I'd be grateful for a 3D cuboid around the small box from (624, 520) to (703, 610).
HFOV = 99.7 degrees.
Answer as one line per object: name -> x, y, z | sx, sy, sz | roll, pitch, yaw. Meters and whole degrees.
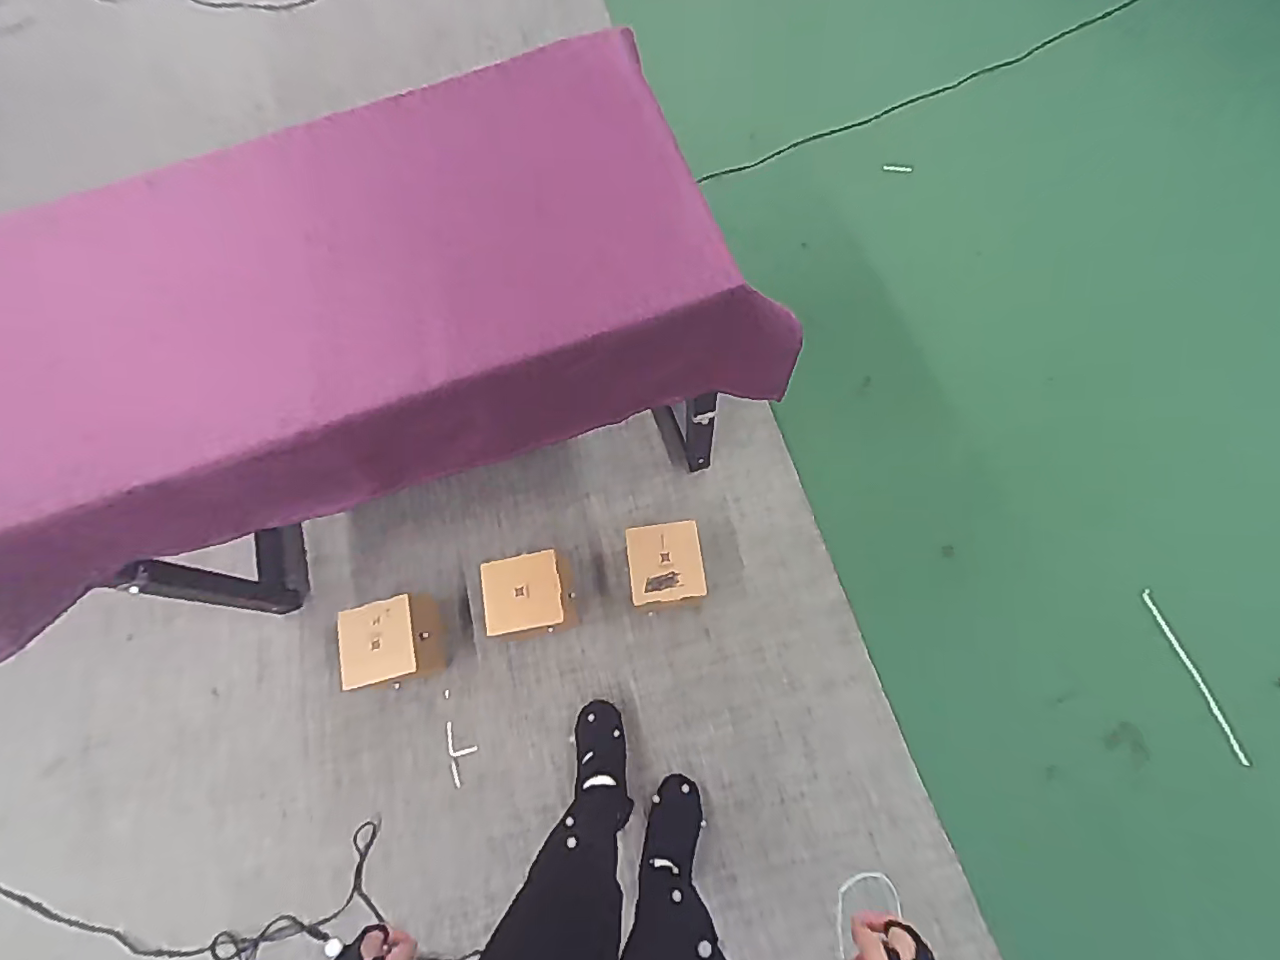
small box -> 0.058, 0.209, 1.284 | 0.168, 0.176, 0.179 | -8, 69, 2
